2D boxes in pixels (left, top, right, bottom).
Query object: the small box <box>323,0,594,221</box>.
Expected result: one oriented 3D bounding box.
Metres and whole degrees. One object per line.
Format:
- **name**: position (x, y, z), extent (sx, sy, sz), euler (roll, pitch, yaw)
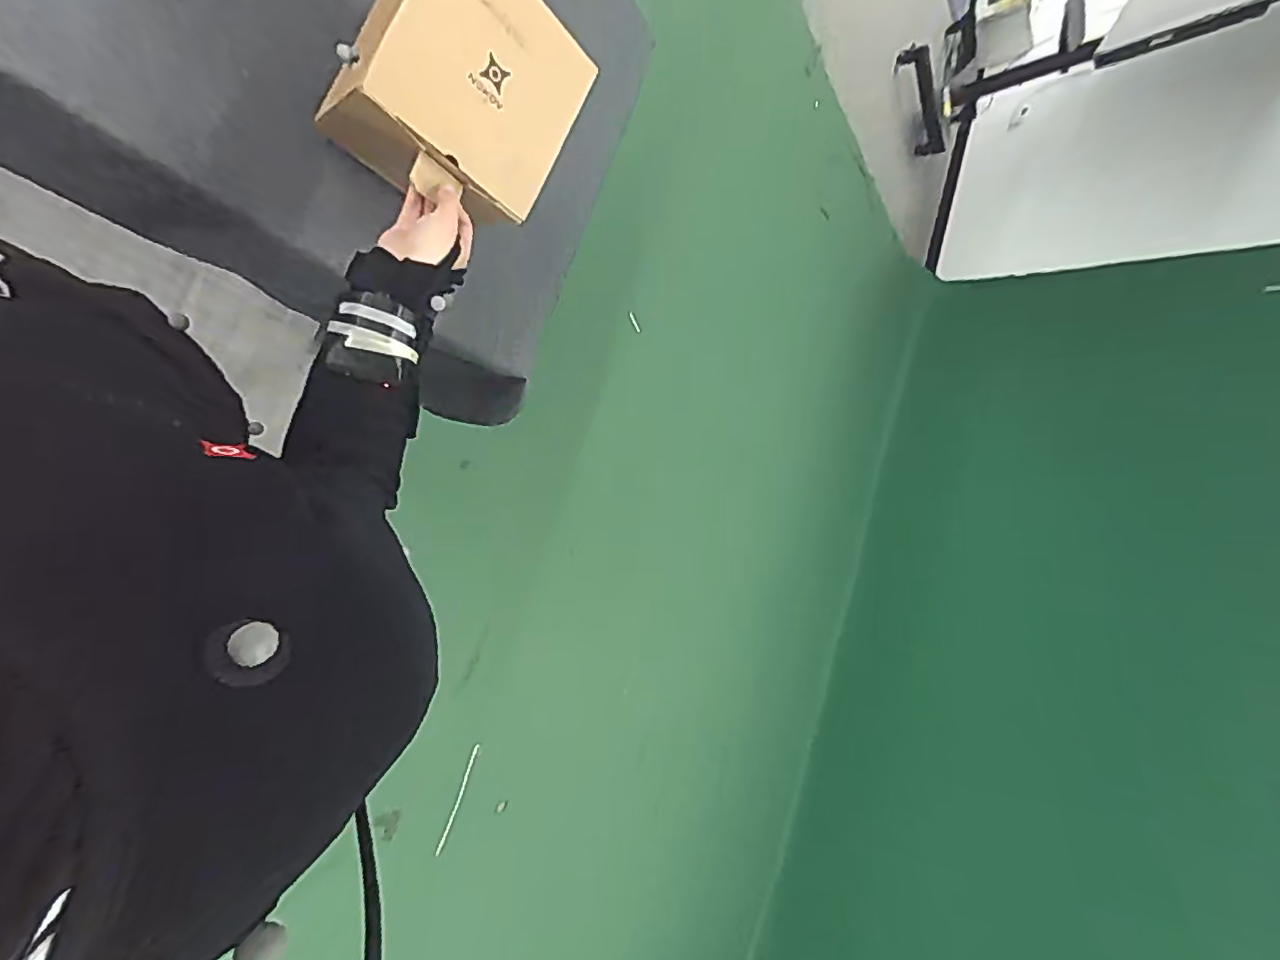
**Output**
- **small box**: position (-0.182, -0.379, 0.530), extent (0.168, 0.176, 0.179), euler (26, 87, -46)
